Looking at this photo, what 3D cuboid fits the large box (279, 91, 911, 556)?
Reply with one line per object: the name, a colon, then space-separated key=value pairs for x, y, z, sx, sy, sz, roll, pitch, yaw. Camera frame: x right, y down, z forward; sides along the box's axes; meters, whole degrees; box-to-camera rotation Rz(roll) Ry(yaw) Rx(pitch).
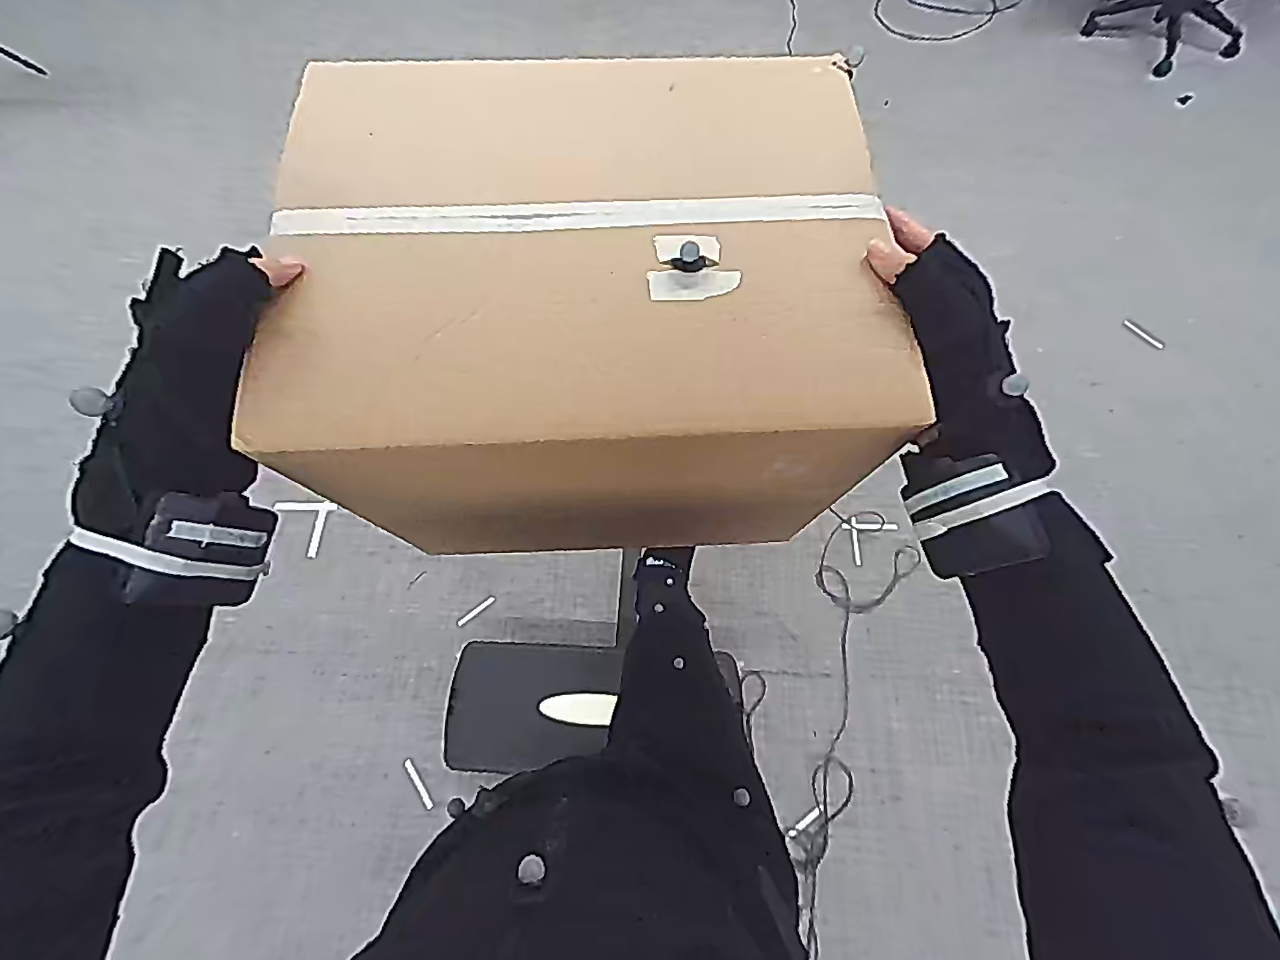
large box: x=-0.037 y=-0.118 z=0.526 sx=0.408 sy=0.320 sz=0.320 roll=-2 pitch=71 yaw=-2
